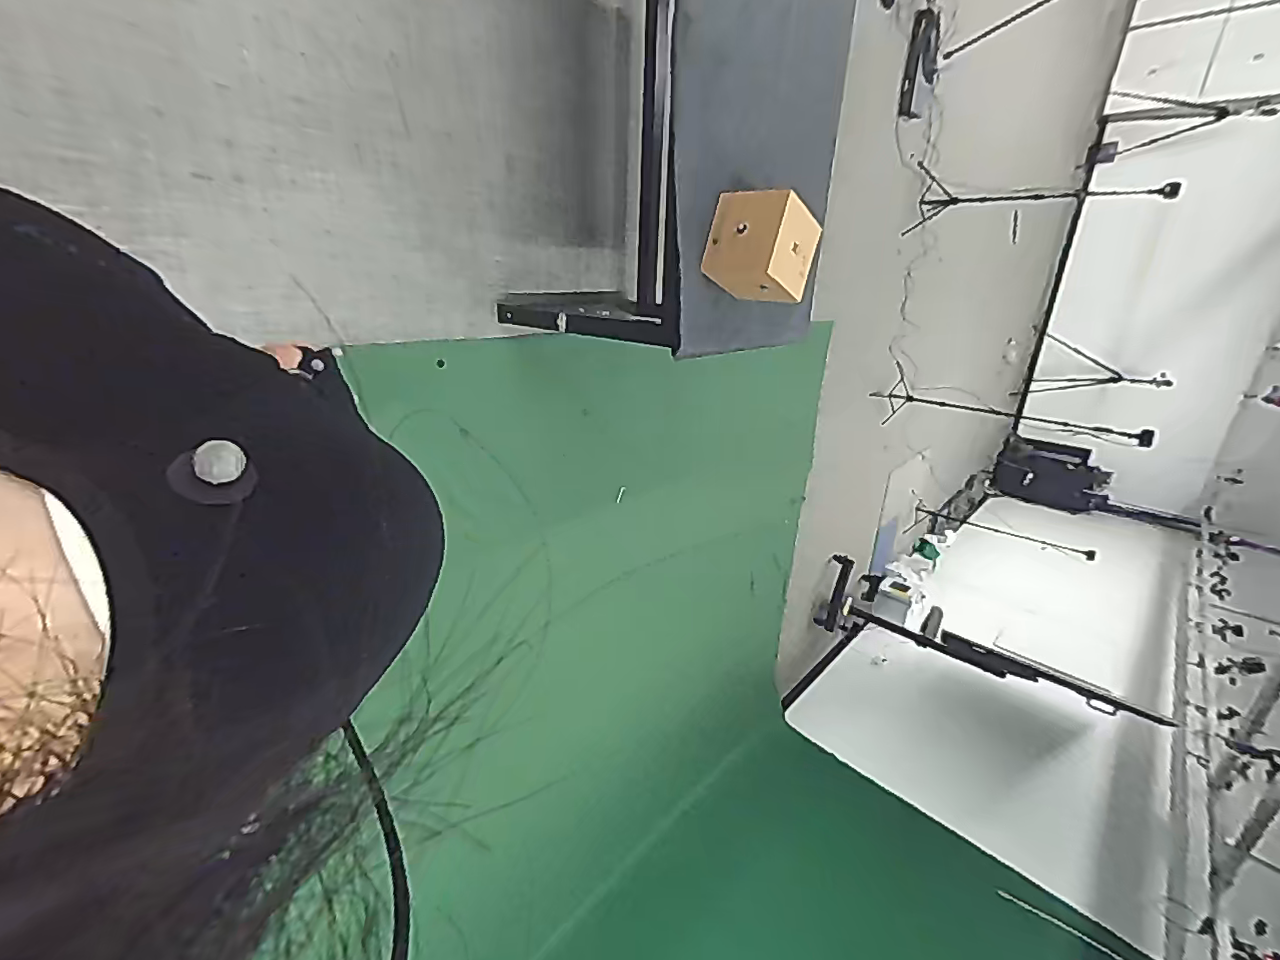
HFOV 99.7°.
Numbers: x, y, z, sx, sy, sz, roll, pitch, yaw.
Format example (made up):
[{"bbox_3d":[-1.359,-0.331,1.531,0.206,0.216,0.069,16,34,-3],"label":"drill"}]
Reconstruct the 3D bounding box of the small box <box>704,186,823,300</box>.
[{"bbox_3d":[0.261,-0.499,1.159,0.179,0.176,0.168,8,99,-52],"label":"small box"}]

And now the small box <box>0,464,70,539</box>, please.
[{"bbox_3d":[-1.162,0.068,0.941,0.168,0.176,0.179,-53,137,-19],"label":"small box"}]

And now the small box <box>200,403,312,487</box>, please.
[{"bbox_3d":[-0.854,-0.059,1.237,0.168,0.176,0.179,-58,139,-14],"label":"small box"}]

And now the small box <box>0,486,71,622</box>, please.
[{"bbox_3d":[-1.048,0.120,0.837,0.168,0.176,0.179,-36,131,-32],"label":"small box"}]
